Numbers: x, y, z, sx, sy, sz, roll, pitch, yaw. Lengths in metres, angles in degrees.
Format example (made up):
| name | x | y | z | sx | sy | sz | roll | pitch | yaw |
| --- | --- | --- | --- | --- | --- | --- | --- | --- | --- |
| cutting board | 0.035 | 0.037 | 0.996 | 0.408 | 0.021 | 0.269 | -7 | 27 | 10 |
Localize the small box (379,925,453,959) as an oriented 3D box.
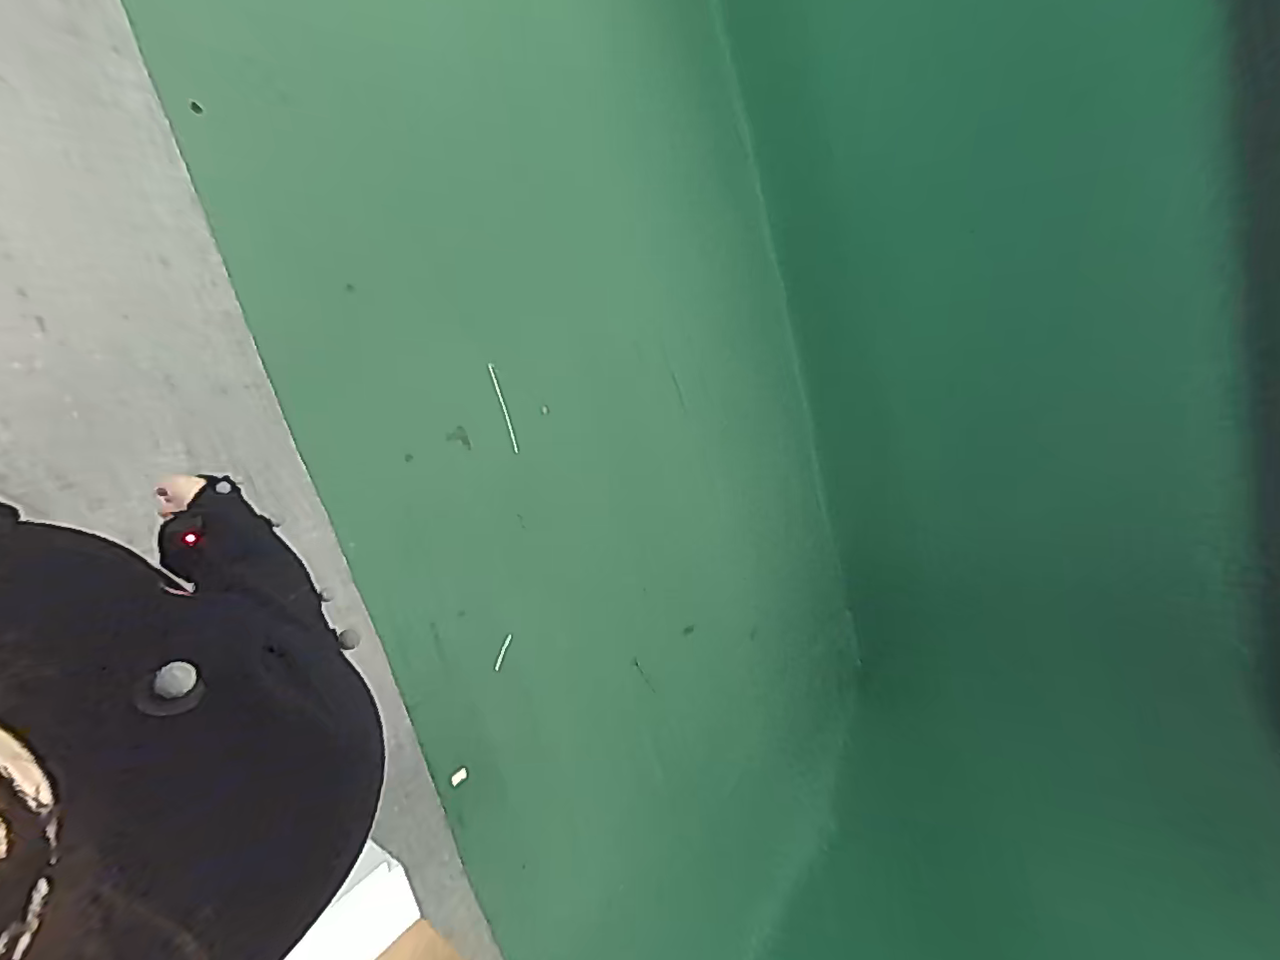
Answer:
| name | x | y | z | sx | sy | sz | roll | pitch | yaw |
| --- | --- | --- | --- | --- | --- | --- | --- | --- | --- |
| small box | -0.354 | 0.843 | 0.820 | 0.179 | 0.176 | 0.168 | -26 | 105 | -48 |
